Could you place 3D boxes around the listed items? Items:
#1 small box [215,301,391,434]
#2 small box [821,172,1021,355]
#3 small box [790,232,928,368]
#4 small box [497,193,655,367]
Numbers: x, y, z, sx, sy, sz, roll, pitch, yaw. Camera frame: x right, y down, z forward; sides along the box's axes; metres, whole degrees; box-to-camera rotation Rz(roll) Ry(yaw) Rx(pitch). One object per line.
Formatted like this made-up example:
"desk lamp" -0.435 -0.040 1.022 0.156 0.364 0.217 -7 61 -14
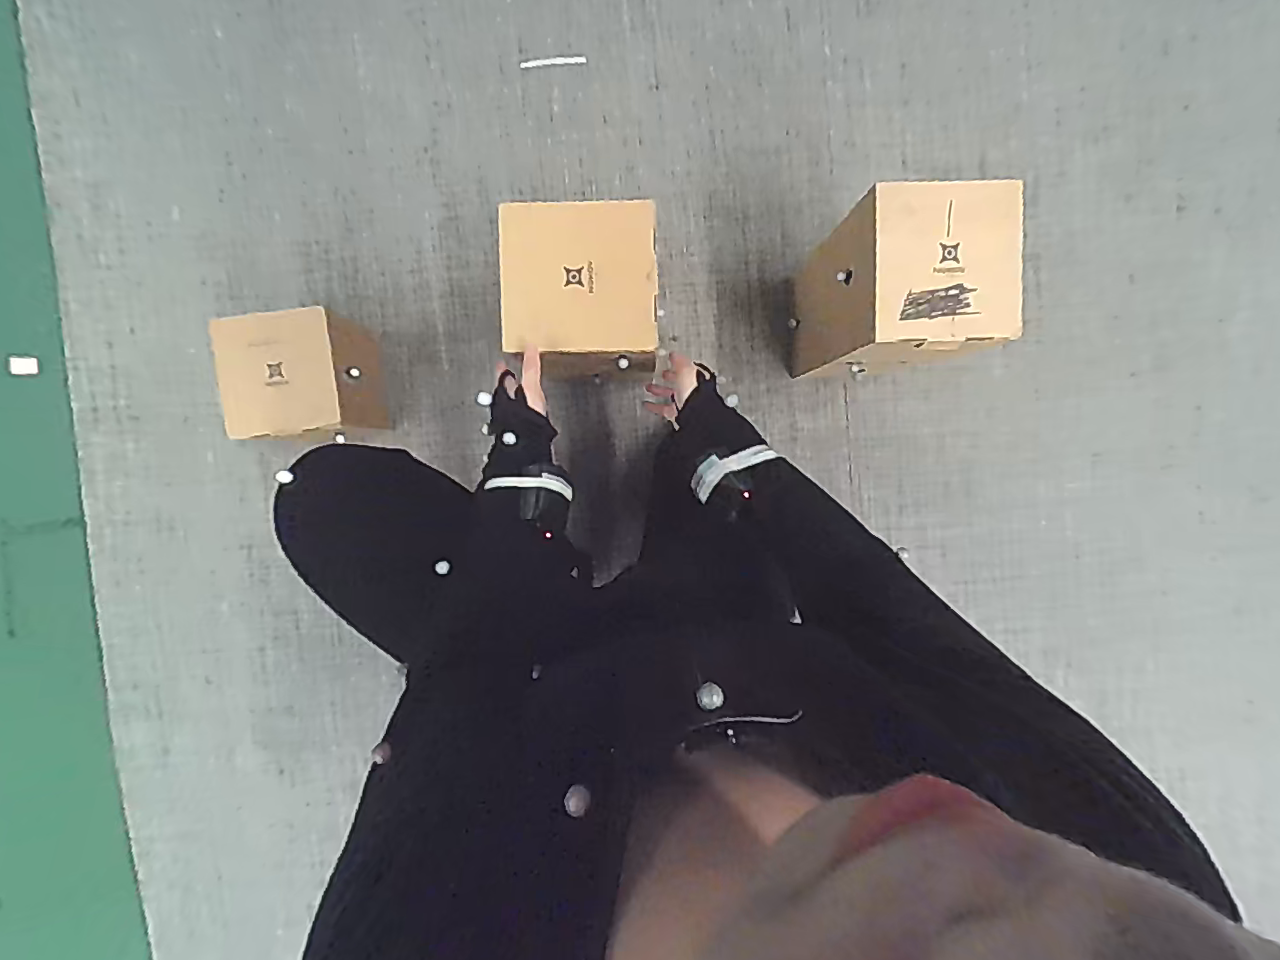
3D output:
"small box" -0.514 -0.165 0.850 0.168 0.176 0.179 -6 93 0
"small box" 0.335 -0.254 0.675 0.168 0.176 0.179 -1 93 0
"small box" 0.337 -0.269 0.839 0.168 0.176 0.179 -2 94 0
"small box" -0.070 -0.237 0.680 0.179 0.176 0.168 -1 93 0
